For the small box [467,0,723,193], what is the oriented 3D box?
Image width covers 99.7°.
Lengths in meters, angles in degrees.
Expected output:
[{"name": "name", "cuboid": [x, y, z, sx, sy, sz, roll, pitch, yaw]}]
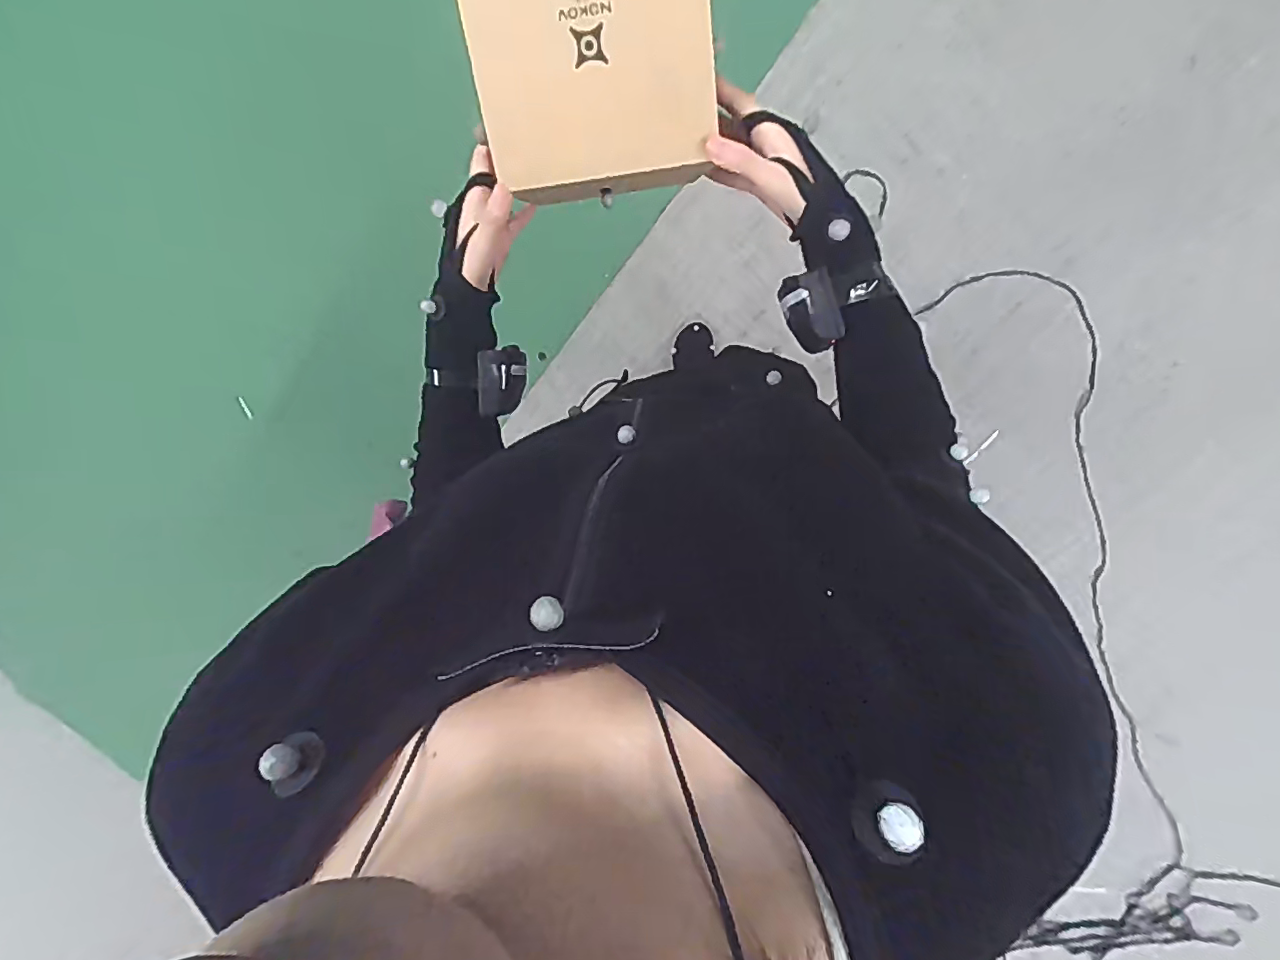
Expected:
[{"name": "small box", "cuboid": [-0.030, -0.334, 0.428, 0.168, 0.176, 0.179, -7, 114, 2]}]
